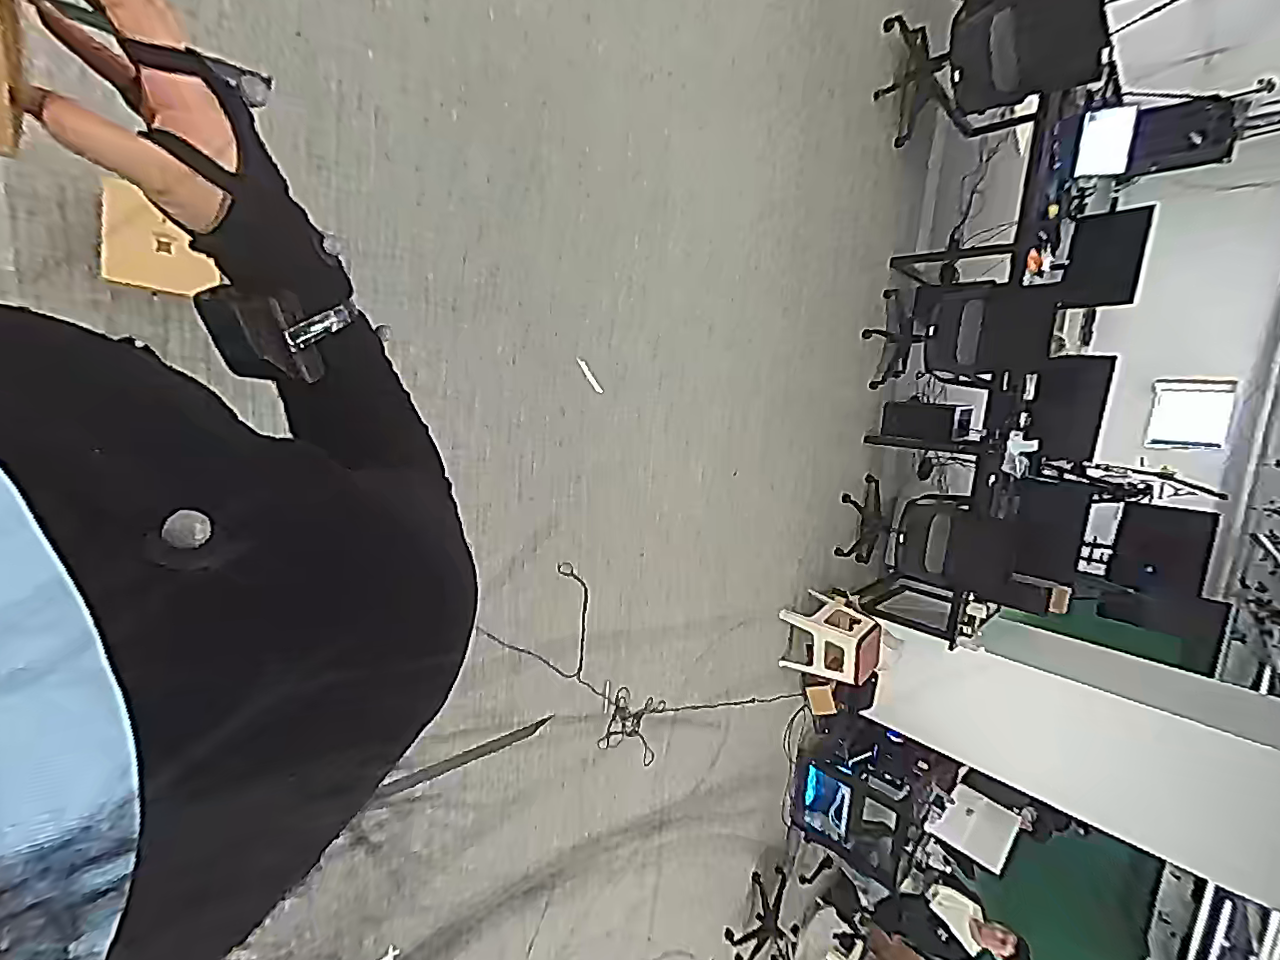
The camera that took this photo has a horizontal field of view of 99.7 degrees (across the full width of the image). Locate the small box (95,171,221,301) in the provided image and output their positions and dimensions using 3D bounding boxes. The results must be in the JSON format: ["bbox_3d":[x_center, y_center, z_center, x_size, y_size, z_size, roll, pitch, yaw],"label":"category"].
[{"bbox_3d":[-0.924,-0.451,1.036,0.168,0.176,0.179,1,98,-46],"label":"small box"}]
